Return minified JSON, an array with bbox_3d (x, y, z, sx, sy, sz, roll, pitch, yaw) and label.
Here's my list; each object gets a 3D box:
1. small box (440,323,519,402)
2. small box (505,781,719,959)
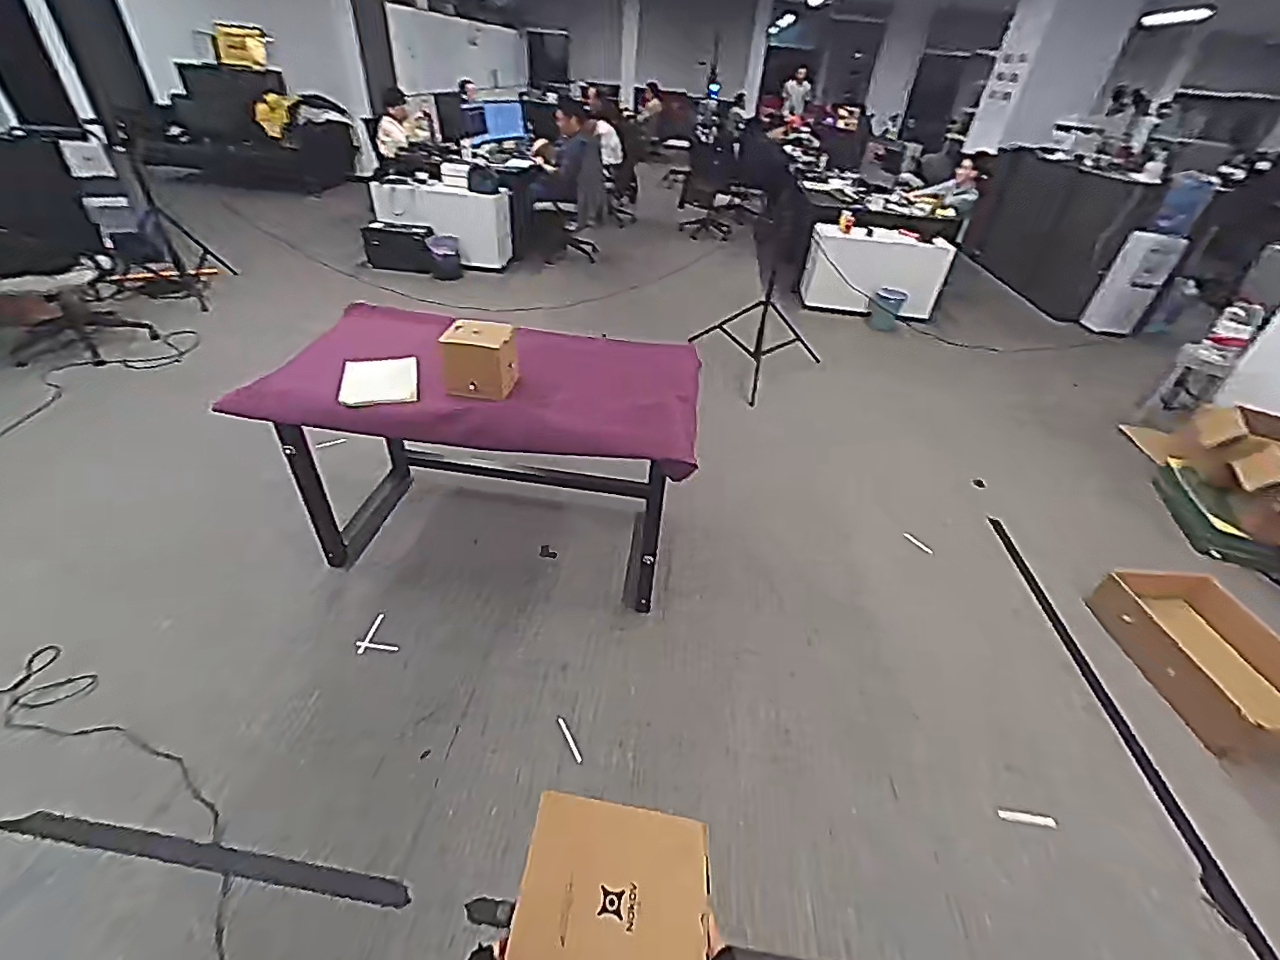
[{"bbox_3d":[-0.463,-0.344,1.594,0.179,0.176,0.168,8,37,2],"label":"small box"},{"bbox_3d":[-0.033,0.430,0.525,0.179,0.176,0.168,12,33,-3],"label":"small box"}]
